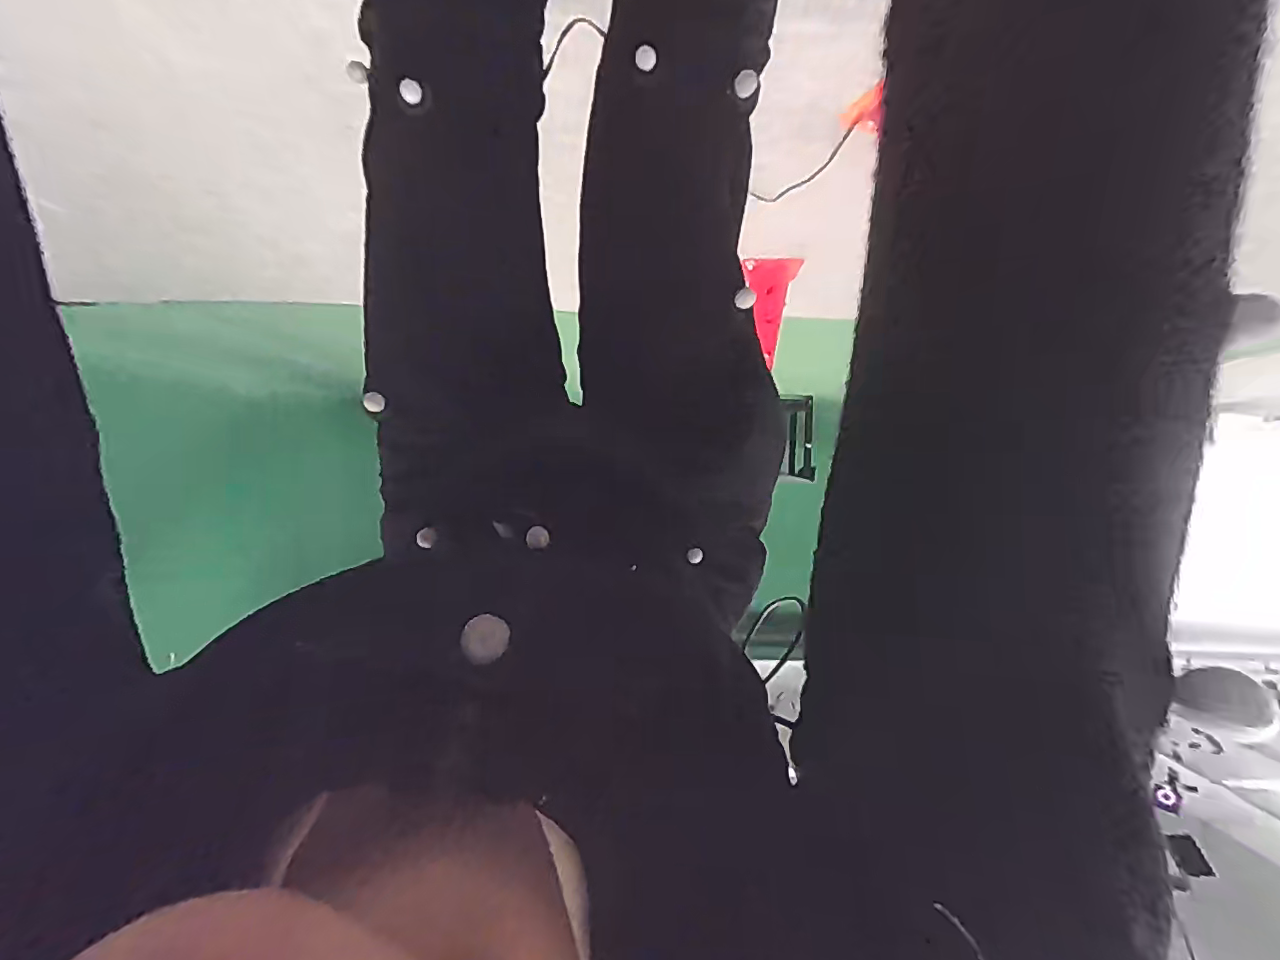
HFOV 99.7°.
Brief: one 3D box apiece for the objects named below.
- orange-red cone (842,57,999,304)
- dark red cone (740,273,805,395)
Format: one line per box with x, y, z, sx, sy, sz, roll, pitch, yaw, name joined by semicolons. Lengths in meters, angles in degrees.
0.495;-0.502;0.975;0.199;0.360;0.198;0;-179;-20;orange-red cone
0.435;-0.482;1.809;0.202;0.394;0.201;2;-177;7;dark red cone
